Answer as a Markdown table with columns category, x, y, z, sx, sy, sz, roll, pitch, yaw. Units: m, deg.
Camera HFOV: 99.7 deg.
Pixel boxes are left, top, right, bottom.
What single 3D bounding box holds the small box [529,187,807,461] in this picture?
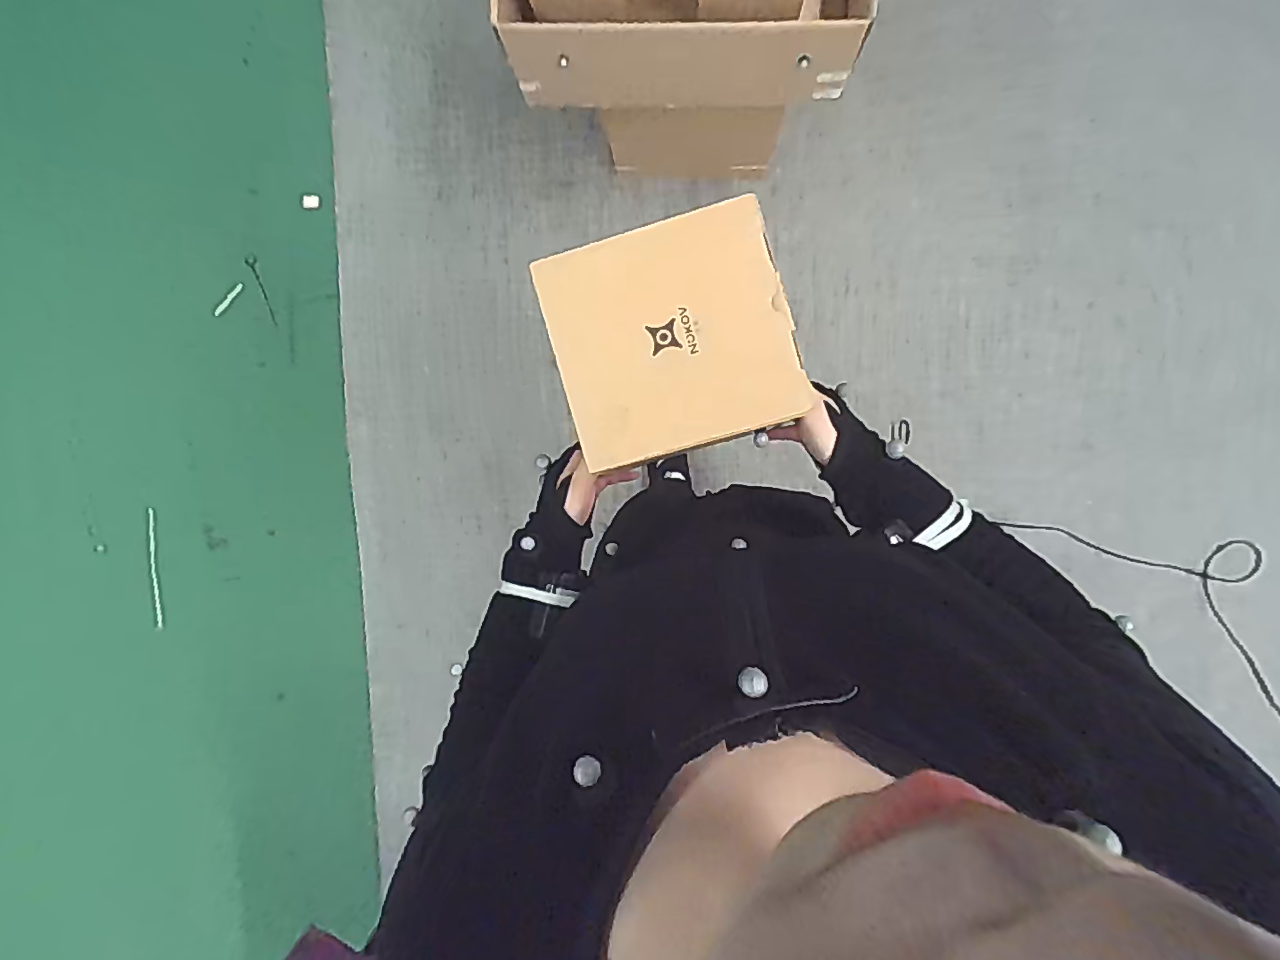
| category | x | y | z | sx | sy | sz | roll | pitch | yaw |
| --- | --- | --- | --- | --- | --- | --- | --- | --- | --- |
| small box | 0.024 | -0.115 | 0.477 | 0.179 | 0.176 | 0.168 | -15 | 91 | 3 |
